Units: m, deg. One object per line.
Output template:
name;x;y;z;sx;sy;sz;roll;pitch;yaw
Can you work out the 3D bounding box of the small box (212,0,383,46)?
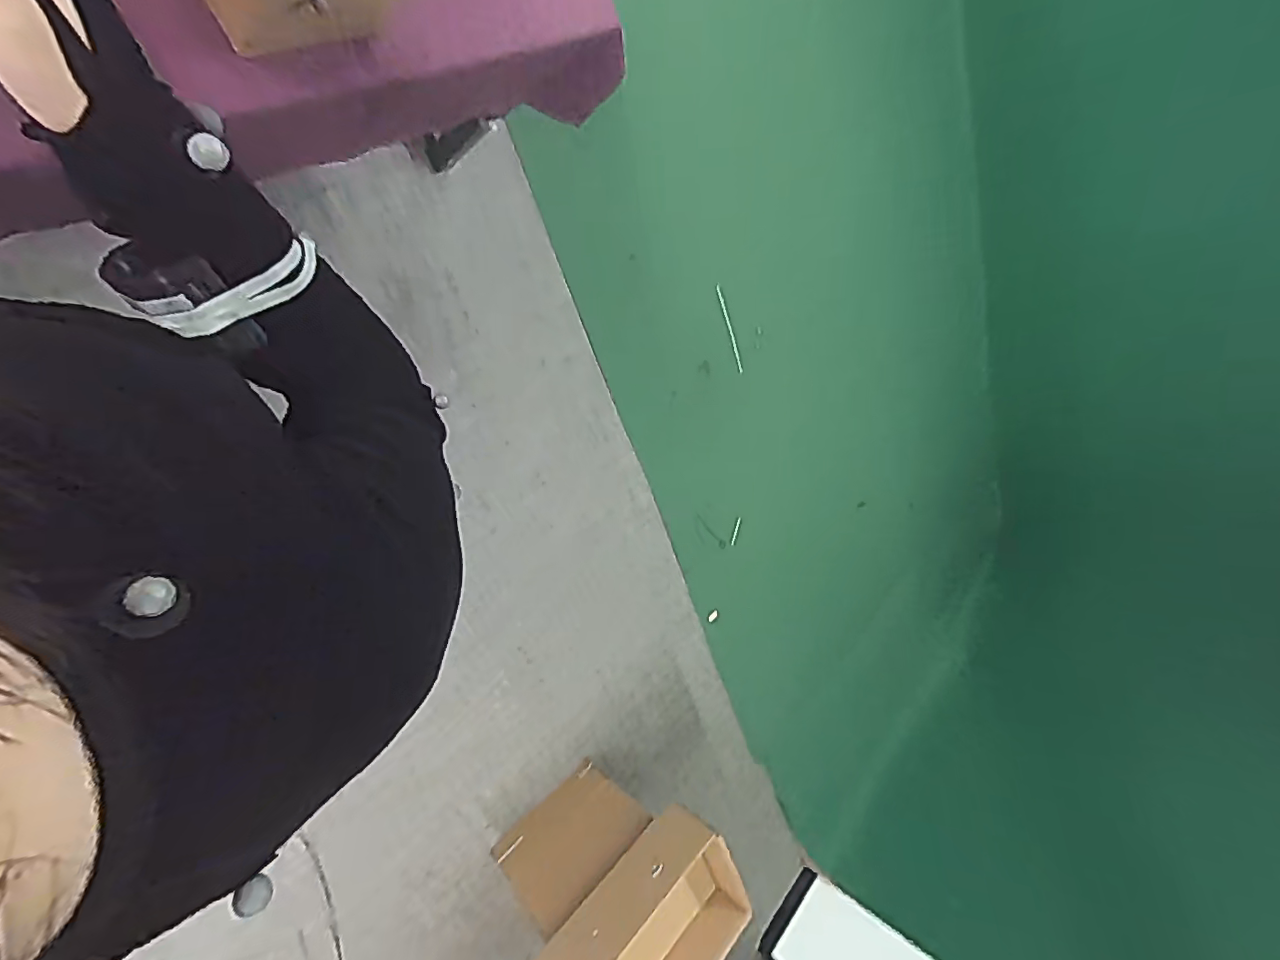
small box;-0.365;-0.576;0.538;0.179;0.176;0.168;-40;119;-27
